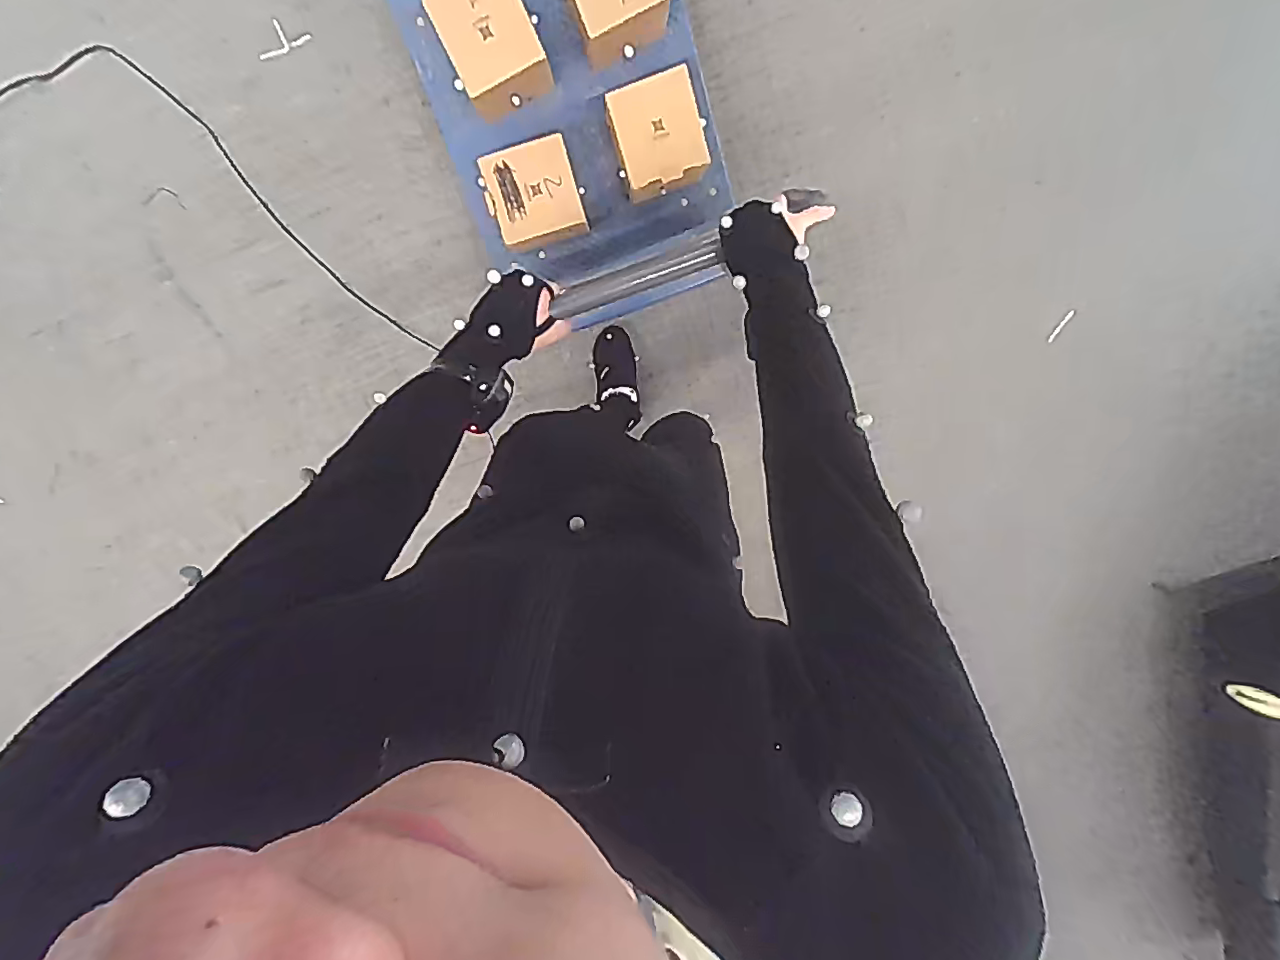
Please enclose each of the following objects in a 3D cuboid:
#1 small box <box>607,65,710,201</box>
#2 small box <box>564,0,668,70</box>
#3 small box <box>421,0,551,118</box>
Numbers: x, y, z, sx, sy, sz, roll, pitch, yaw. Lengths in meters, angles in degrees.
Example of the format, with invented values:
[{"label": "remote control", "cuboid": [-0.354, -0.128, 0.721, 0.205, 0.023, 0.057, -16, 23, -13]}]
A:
[{"label": "small box", "cuboid": [0.033, -0.712, 1.131, 0.168, 0.176, 0.179, -19, 109, 4]}, {"label": "small box", "cuboid": [-0.058, -0.950, 1.046, 0.168, 0.176, 0.179, -24, 109, 6]}, {"label": "small box", "cuboid": [-0.290, -0.852, 1.068, 0.168, 0.176, 0.179, -26, 108, 5]}]
